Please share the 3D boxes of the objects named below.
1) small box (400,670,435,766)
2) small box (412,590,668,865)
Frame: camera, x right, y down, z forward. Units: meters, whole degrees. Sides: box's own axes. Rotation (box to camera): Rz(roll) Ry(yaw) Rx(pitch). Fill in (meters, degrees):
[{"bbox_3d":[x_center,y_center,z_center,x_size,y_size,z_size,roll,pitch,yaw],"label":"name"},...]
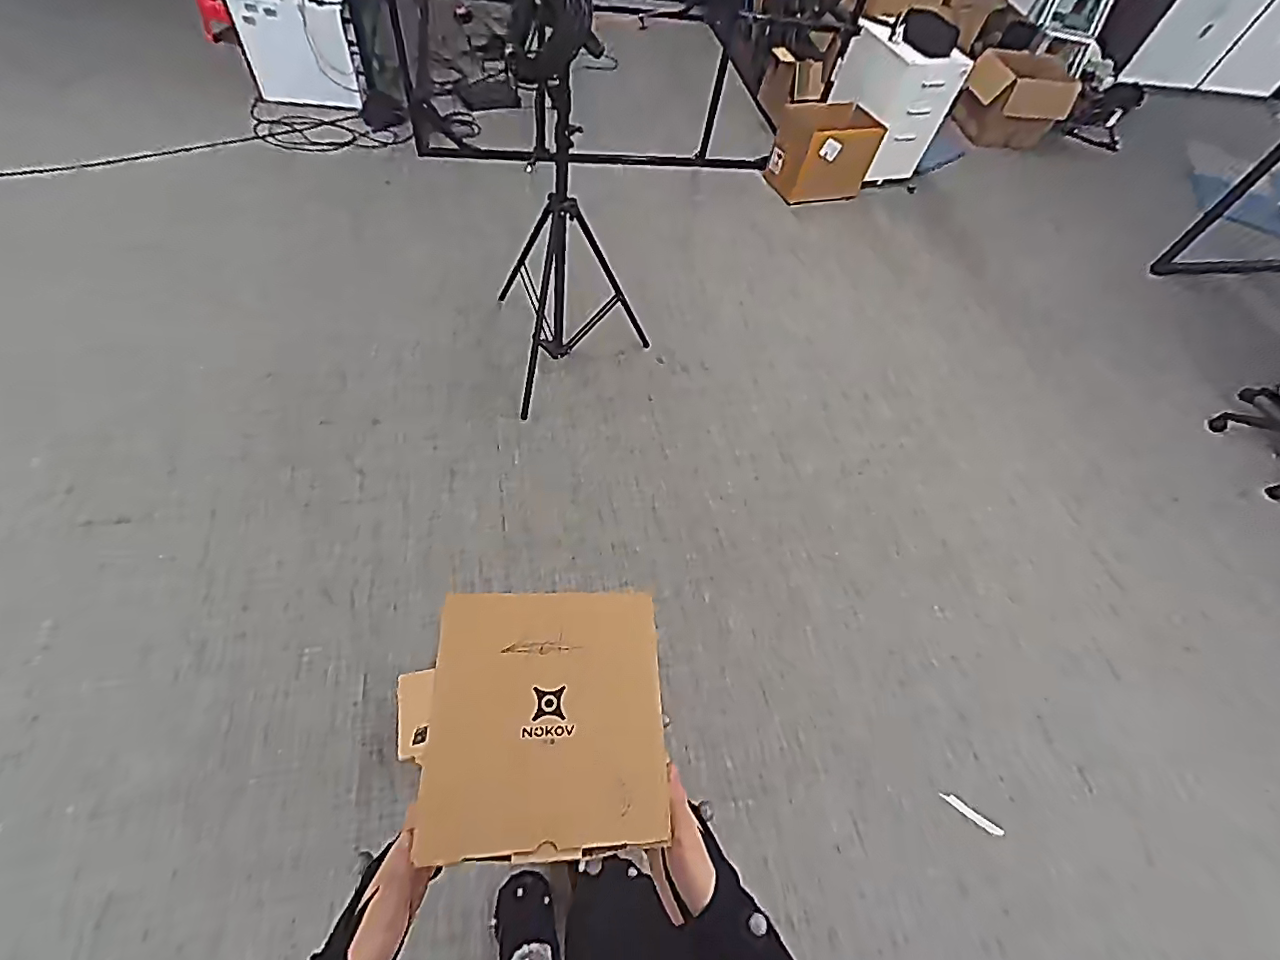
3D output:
[{"bbox_3d":[-0.443,0.542,1.238,0.168,0.176,0.179,-7,58,-14],"label":"small box"},{"bbox_3d":[-0.079,0.206,0.454,0.168,0.176,0.179,1,56,-11],"label":"small box"}]
